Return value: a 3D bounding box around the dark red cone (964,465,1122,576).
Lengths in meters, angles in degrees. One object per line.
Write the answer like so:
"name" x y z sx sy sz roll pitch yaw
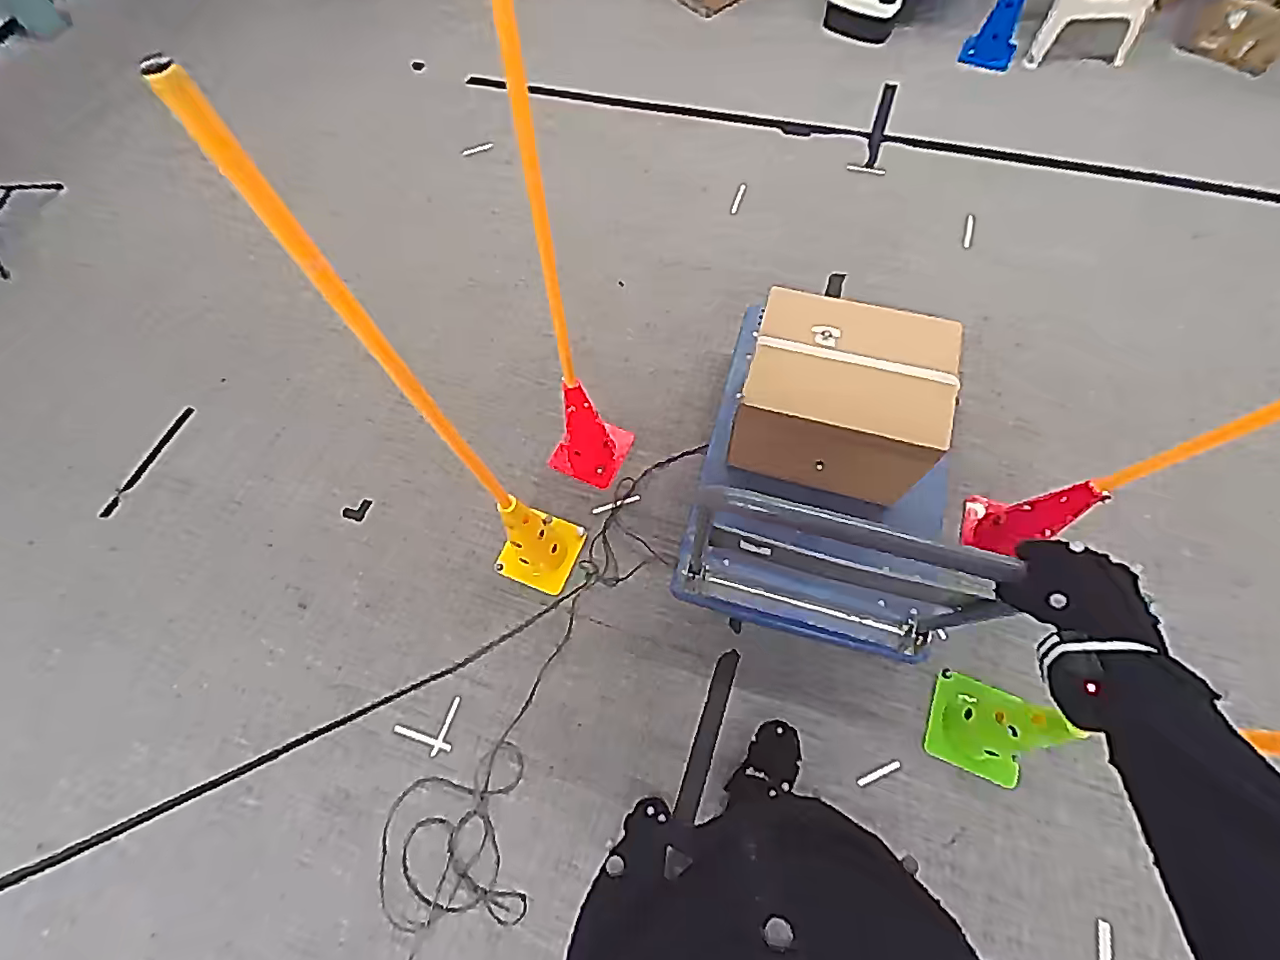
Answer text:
"dark red cone" 0.942 0.067 1.249 0.201 0.394 0.202 17 69 9

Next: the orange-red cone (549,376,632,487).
"orange-red cone" -0.152 -0.162 1.443 0.198 0.360 0.199 24 68 13

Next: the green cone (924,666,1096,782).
"green cone" 0.764 0.491 1.091 0.202 0.368 0.200 20 69 11

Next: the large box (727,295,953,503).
"large box" 0.440 -0.175 1.252 0.408 0.320 0.320 15 69 11
